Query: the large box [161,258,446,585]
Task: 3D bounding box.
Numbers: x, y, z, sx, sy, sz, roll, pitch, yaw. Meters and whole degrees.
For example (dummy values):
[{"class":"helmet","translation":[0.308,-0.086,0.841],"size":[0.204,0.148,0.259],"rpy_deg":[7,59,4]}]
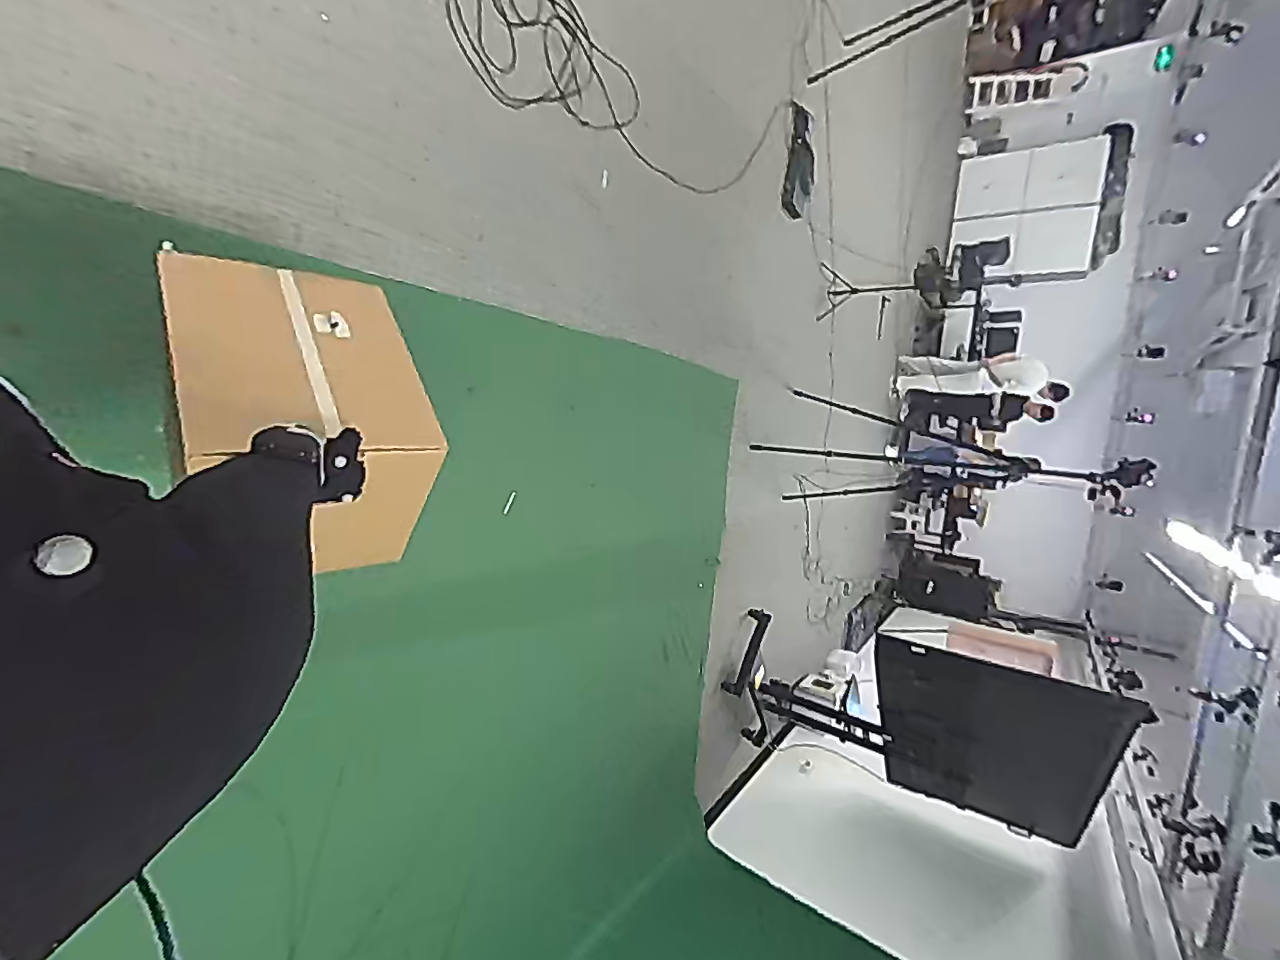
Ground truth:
[{"class":"large box","translation":[-0.576,-0.095,0.910],"size":[0.320,0.408,0.320],"rpy_deg":[-5,144,-43]}]
